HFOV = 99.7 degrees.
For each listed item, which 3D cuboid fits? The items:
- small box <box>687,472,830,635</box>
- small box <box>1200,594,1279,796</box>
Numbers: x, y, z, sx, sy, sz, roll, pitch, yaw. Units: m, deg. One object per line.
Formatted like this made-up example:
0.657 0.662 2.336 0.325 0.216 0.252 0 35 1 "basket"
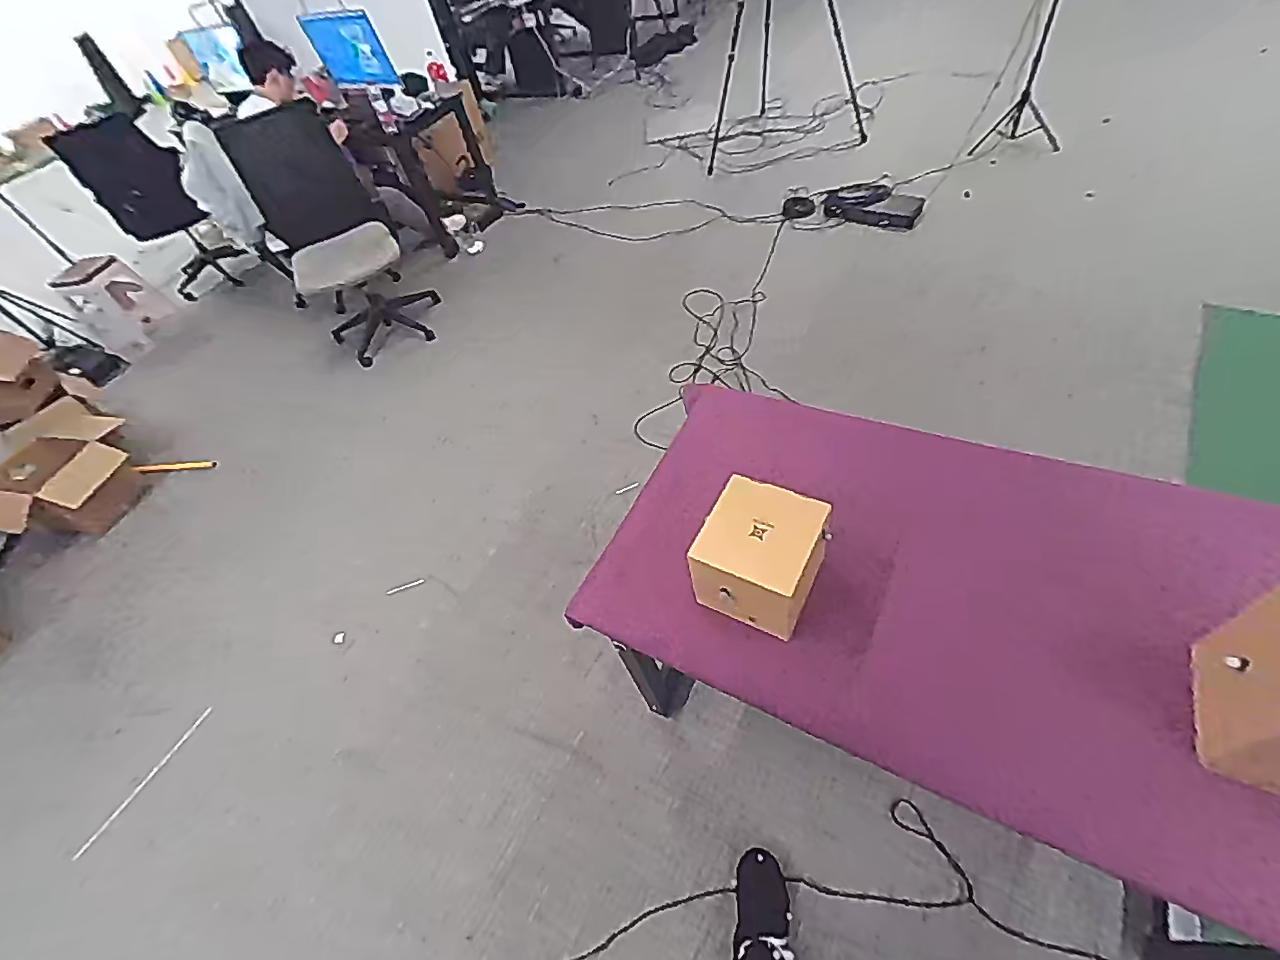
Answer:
0.196 0.122 0.880 0.168 0.176 0.179 19 58 26 "small box"
0.799 0.266 0.623 0.168 0.176 0.179 16 56 26 "small box"
